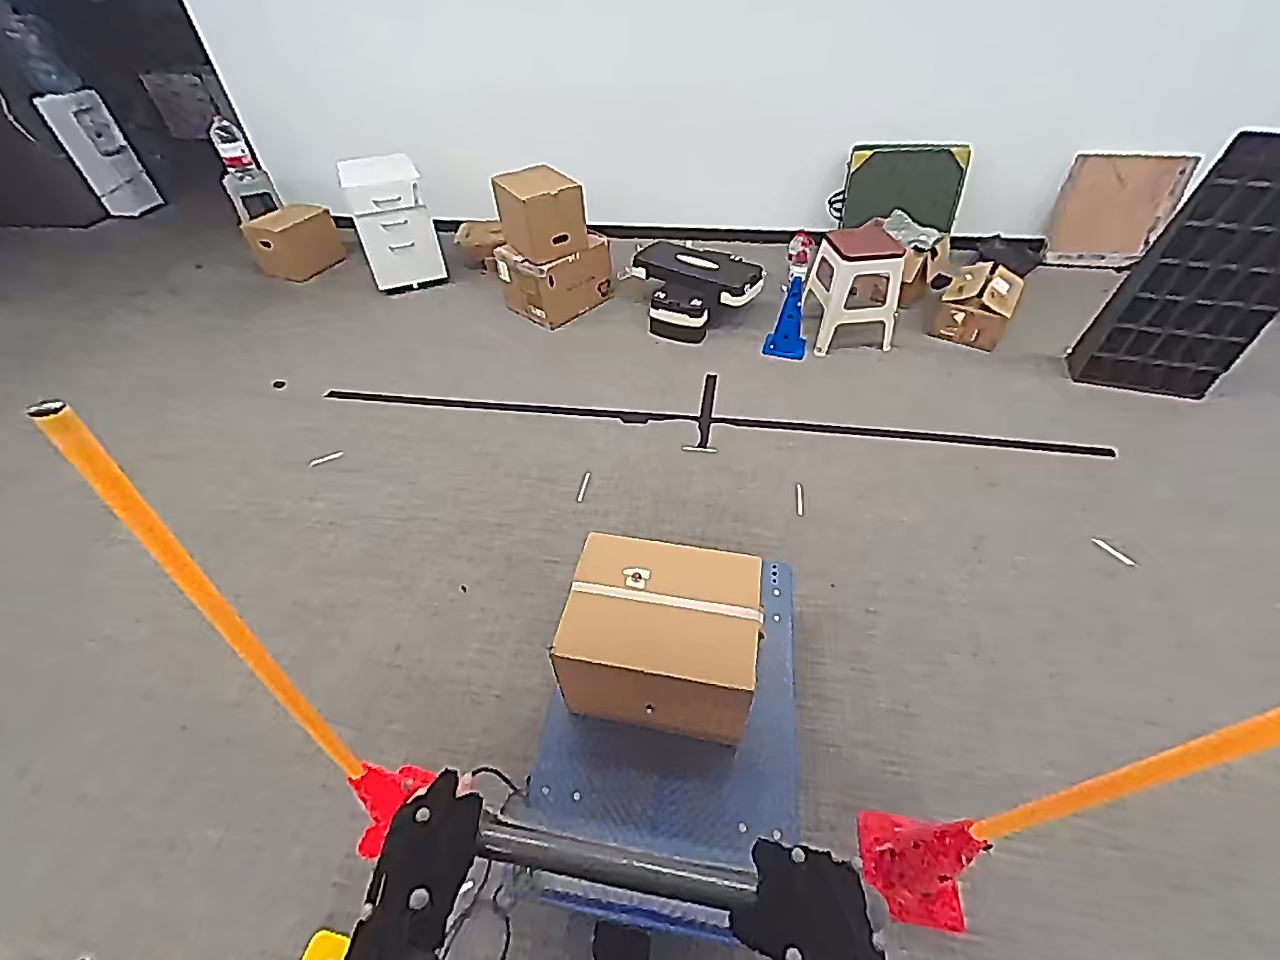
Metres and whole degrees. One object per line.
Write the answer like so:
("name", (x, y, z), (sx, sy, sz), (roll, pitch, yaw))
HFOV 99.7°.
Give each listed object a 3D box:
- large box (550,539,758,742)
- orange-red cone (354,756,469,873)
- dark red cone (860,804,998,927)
("large box", (0.051, 0.371, 1.251), (0.408, 0.320, 0.320), (7, 47, 10))
("orange-red cone", (-0.537, 0.678, 1.173), (0.198, 0.360, 0.199), (12, 45, 13))
("dark red cone", (0.591, 0.717, 1.063), (0.201, 0.394, 0.202), (7, 46, 7))
